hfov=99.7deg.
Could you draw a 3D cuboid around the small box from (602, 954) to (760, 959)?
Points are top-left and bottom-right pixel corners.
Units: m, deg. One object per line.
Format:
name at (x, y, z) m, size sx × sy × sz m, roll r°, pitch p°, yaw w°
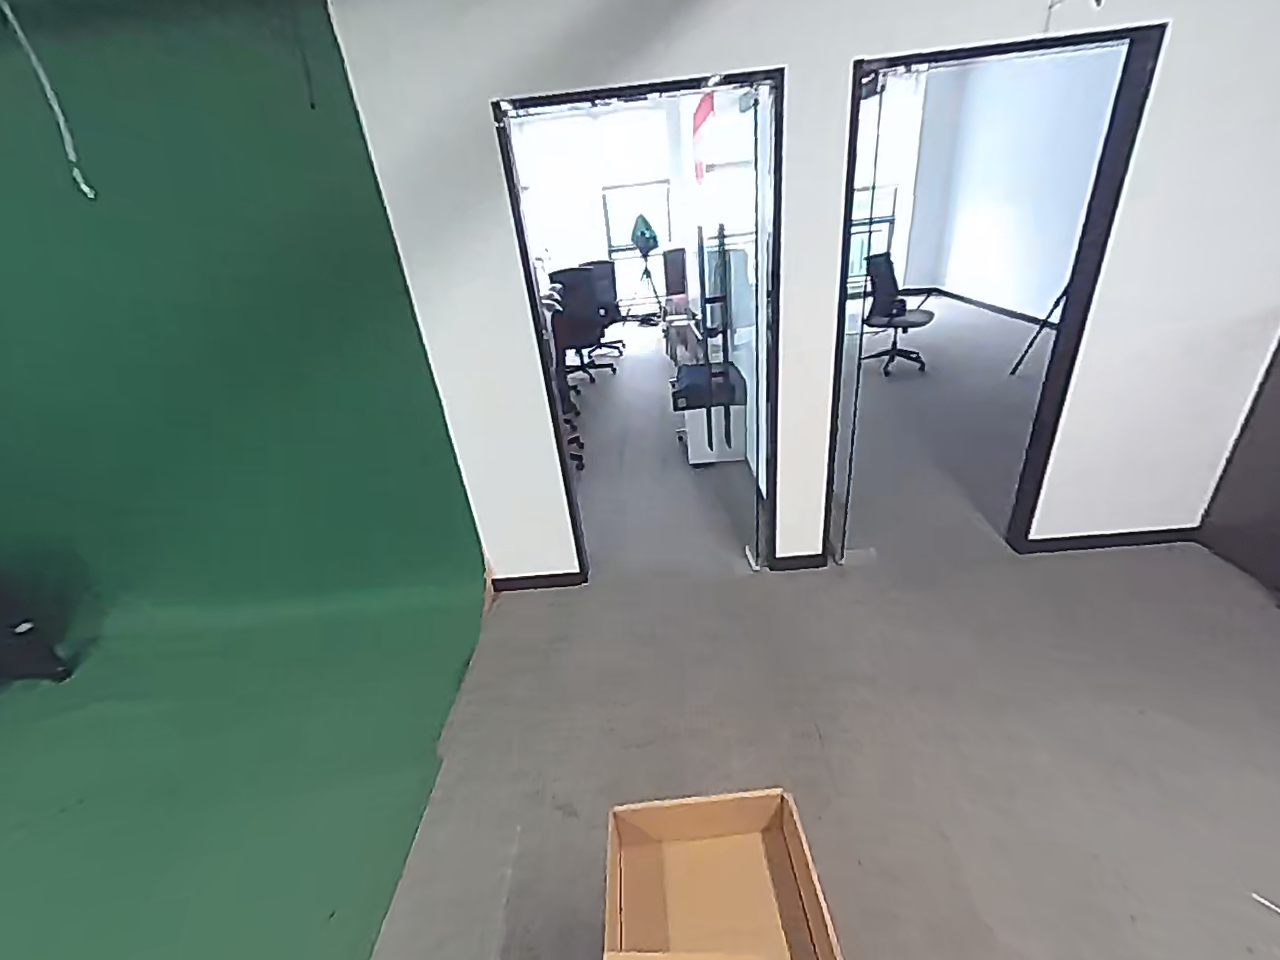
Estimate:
small box at (0.044, 0.617, 0.534) m, size 0.179 × 0.176 × 0.168 m, roll -1°, pitch 21°, yaw 2°
